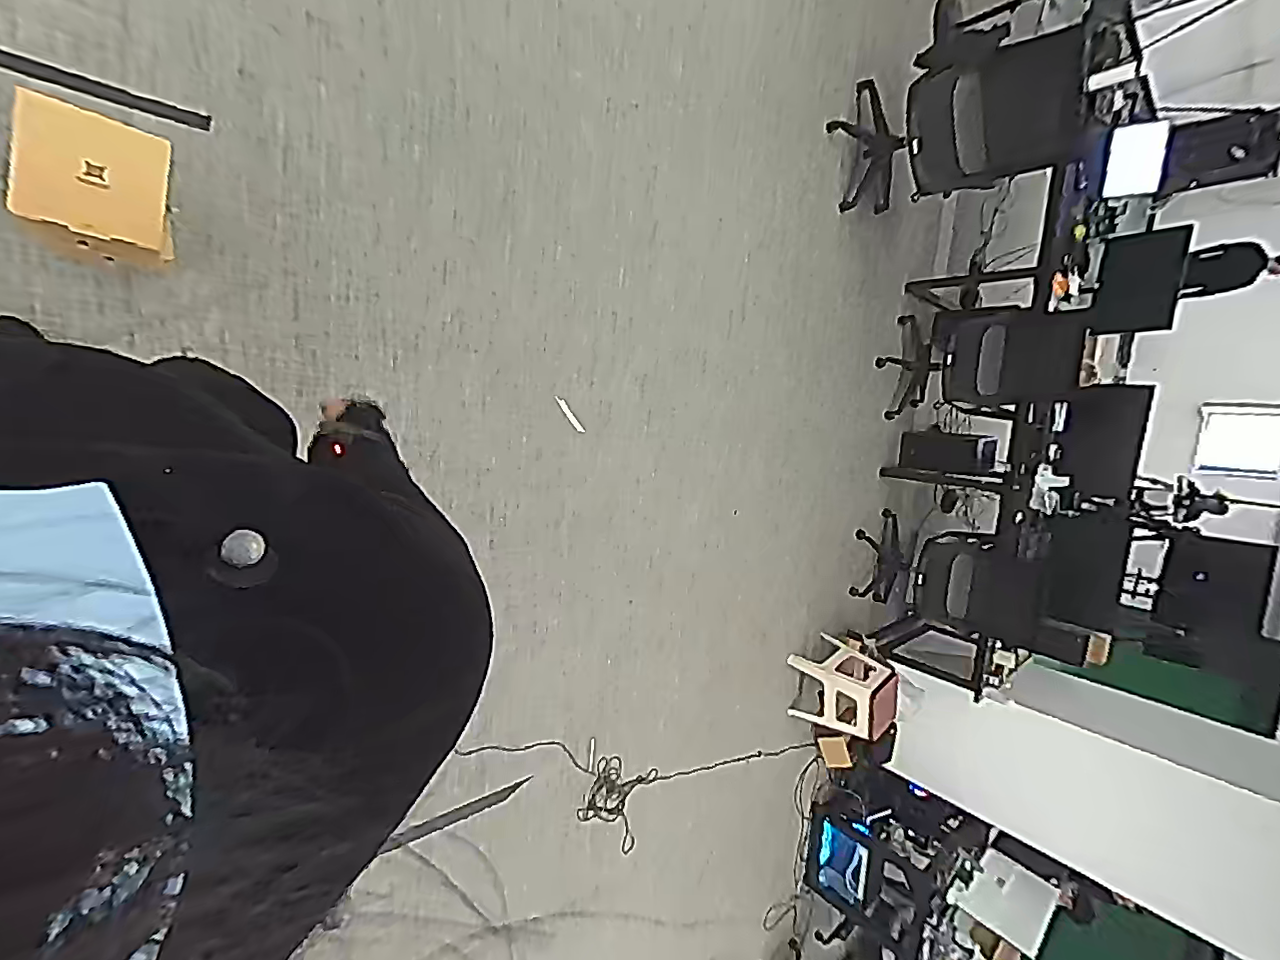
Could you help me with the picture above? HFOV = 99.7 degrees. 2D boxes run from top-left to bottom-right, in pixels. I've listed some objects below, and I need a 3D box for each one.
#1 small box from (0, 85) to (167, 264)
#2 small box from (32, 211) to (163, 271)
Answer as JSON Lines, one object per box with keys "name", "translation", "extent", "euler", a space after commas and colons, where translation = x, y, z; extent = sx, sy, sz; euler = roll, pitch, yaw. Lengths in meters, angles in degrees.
{"name": "small box", "translation": [-0.872, -0.465, 0.858], "extent": [0.168, 0.176, 0.179], "euler": [5, 95, -43]}
{"name": "small box", "translation": [-0.977, -0.492, 0.980], "extent": [0.168, 0.176, 0.179], "euler": [-4, 100, -43]}
